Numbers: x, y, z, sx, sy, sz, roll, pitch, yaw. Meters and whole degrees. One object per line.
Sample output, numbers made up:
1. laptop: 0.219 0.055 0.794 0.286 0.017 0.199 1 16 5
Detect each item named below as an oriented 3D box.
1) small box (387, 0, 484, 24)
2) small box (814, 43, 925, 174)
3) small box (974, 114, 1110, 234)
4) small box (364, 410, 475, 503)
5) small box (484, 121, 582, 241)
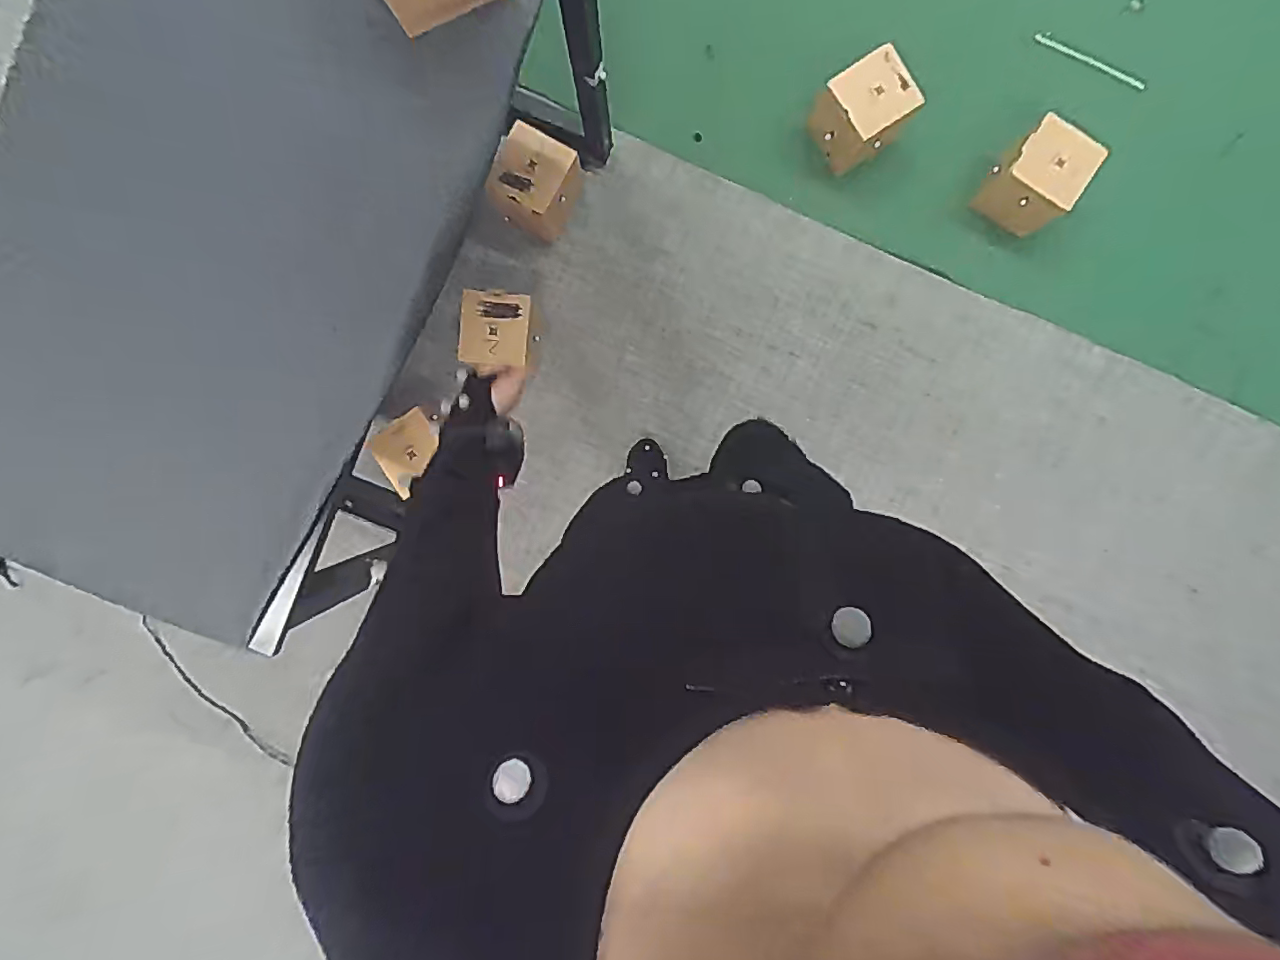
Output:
1. small box: -0.261 -0.681 0.620 0.168 0.176 0.179 -20 93 4
2. small box: 0.554 -0.906 1.340 0.179 0.176 0.168 -32 92 2
3. small box: 0.986 -0.749 1.347 0.179 0.176 0.168 32 94 -3
4. small box: -0.556 -0.062 1.392 0.168 0.176 0.179 -34 92 2
5. small box: -0.257 -0.734 1.351 0.168 0.176 0.179 29 92 -2
